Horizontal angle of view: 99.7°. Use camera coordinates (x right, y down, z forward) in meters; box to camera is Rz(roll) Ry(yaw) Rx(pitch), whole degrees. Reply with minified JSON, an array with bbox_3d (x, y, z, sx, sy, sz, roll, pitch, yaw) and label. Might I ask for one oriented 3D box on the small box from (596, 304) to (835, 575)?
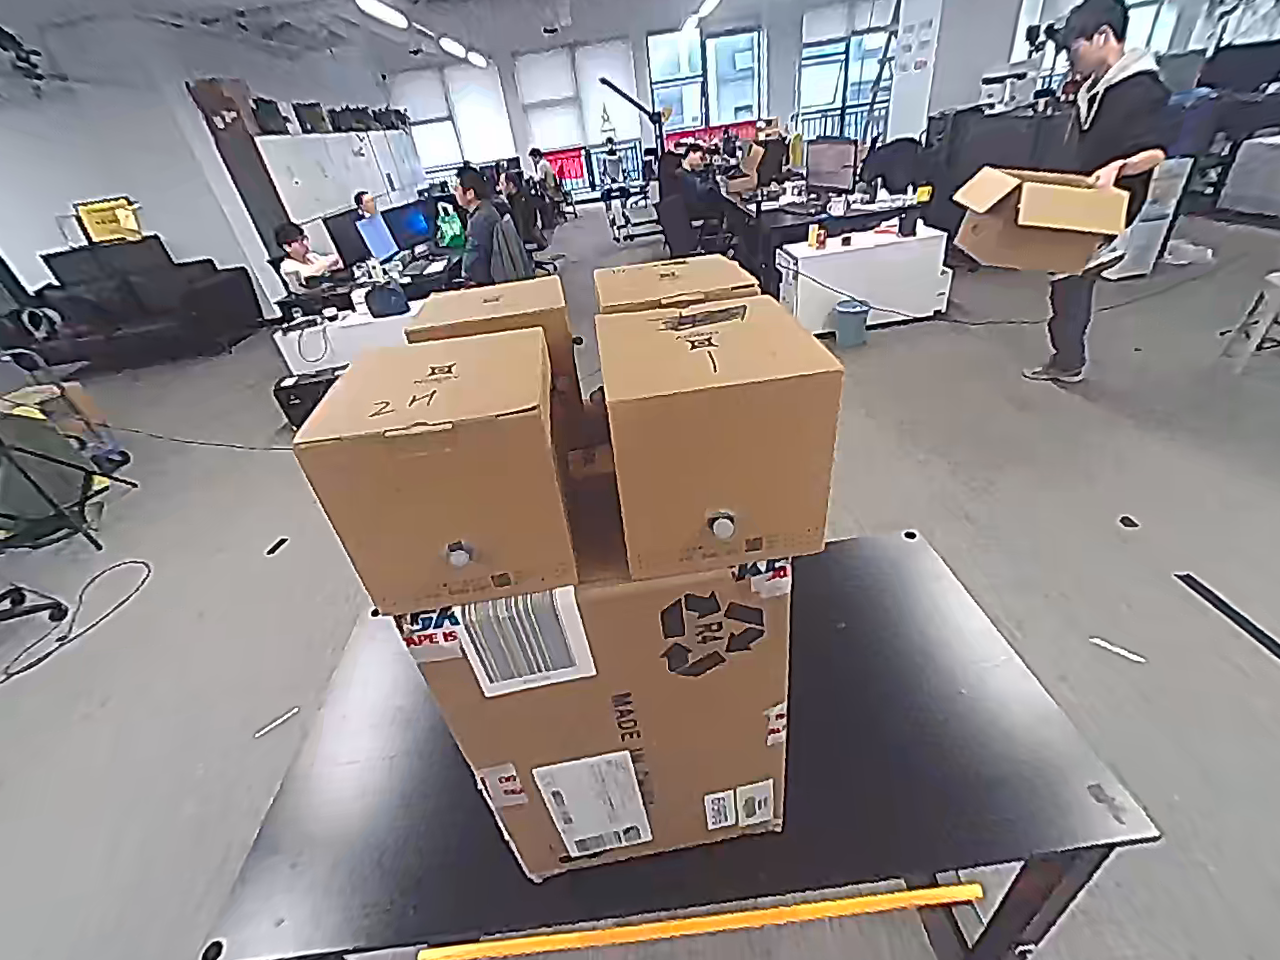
[{"bbox_3d":[0.054,-0.041,0.482,0.168,0.176,0.179,-8,35,-1],"label":"small box"}]
